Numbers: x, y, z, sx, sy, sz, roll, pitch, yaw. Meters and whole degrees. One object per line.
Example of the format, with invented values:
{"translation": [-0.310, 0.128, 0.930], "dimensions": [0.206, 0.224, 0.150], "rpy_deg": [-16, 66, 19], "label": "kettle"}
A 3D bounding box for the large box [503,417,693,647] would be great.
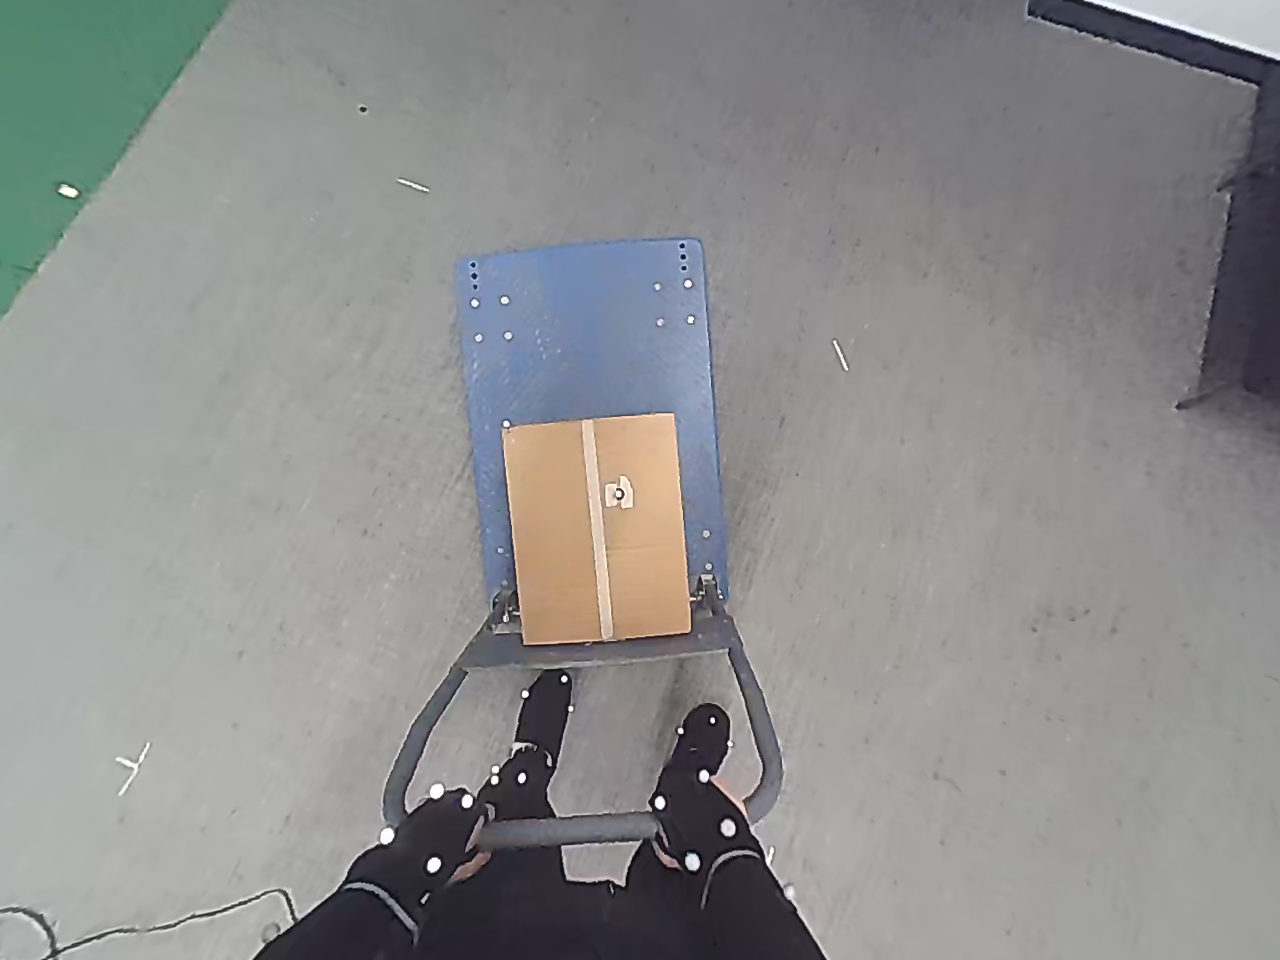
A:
{"translation": [-0.073, 0.091, 1.132], "dimensions": [0.320, 0.320, 0.408], "rpy_deg": [-5, 93, 1], "label": "large box"}
